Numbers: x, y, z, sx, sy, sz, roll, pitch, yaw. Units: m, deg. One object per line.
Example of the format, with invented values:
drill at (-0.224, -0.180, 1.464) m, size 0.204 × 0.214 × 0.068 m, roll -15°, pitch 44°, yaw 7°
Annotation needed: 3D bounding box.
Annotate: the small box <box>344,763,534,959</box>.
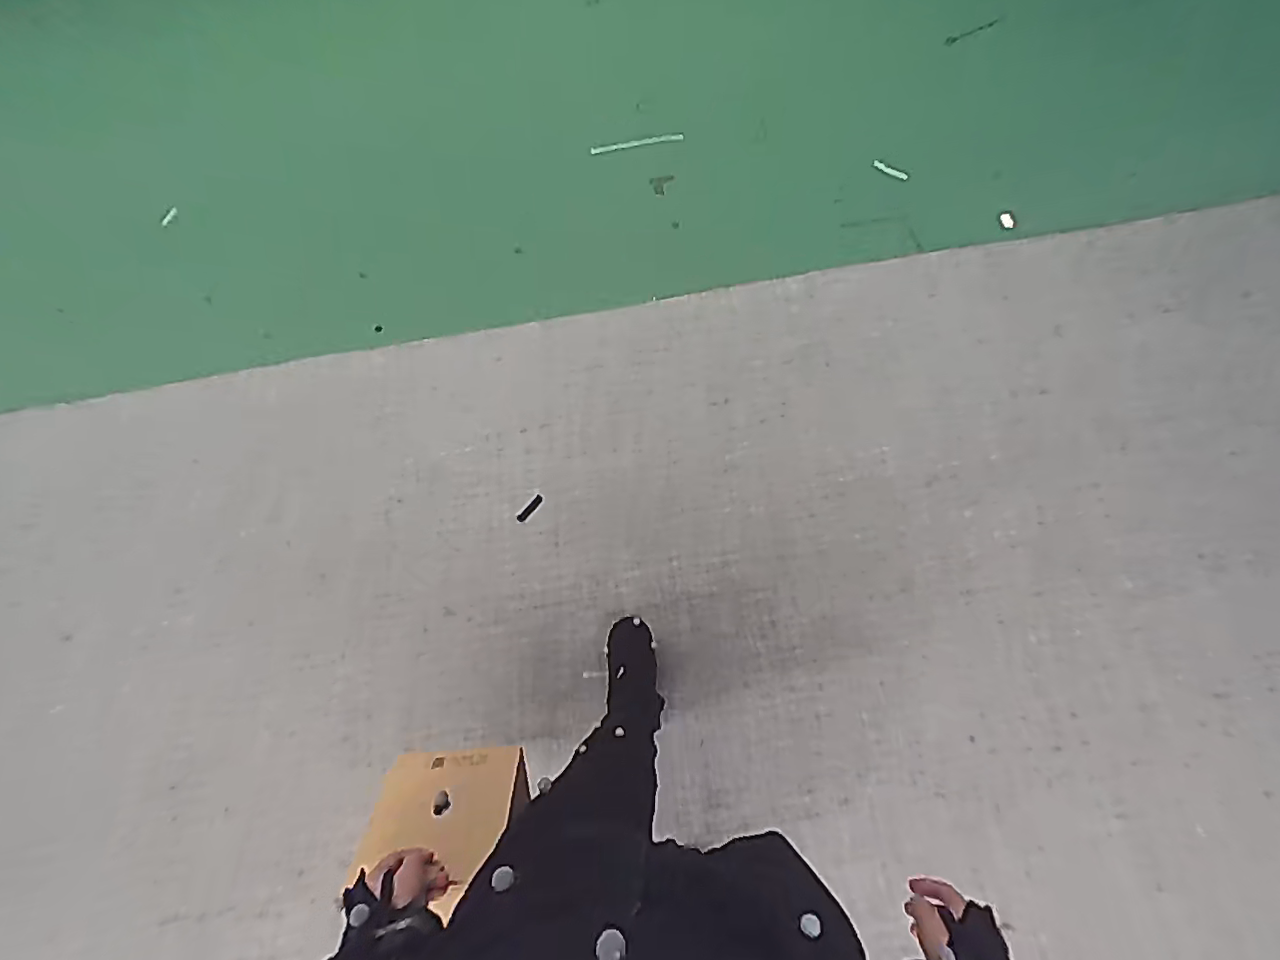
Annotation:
small box at (-0.230, 0.475, 0.669) m, size 0.168 × 0.179 × 0.176 m, roll -3°, pitch 24°, yaw -2°
